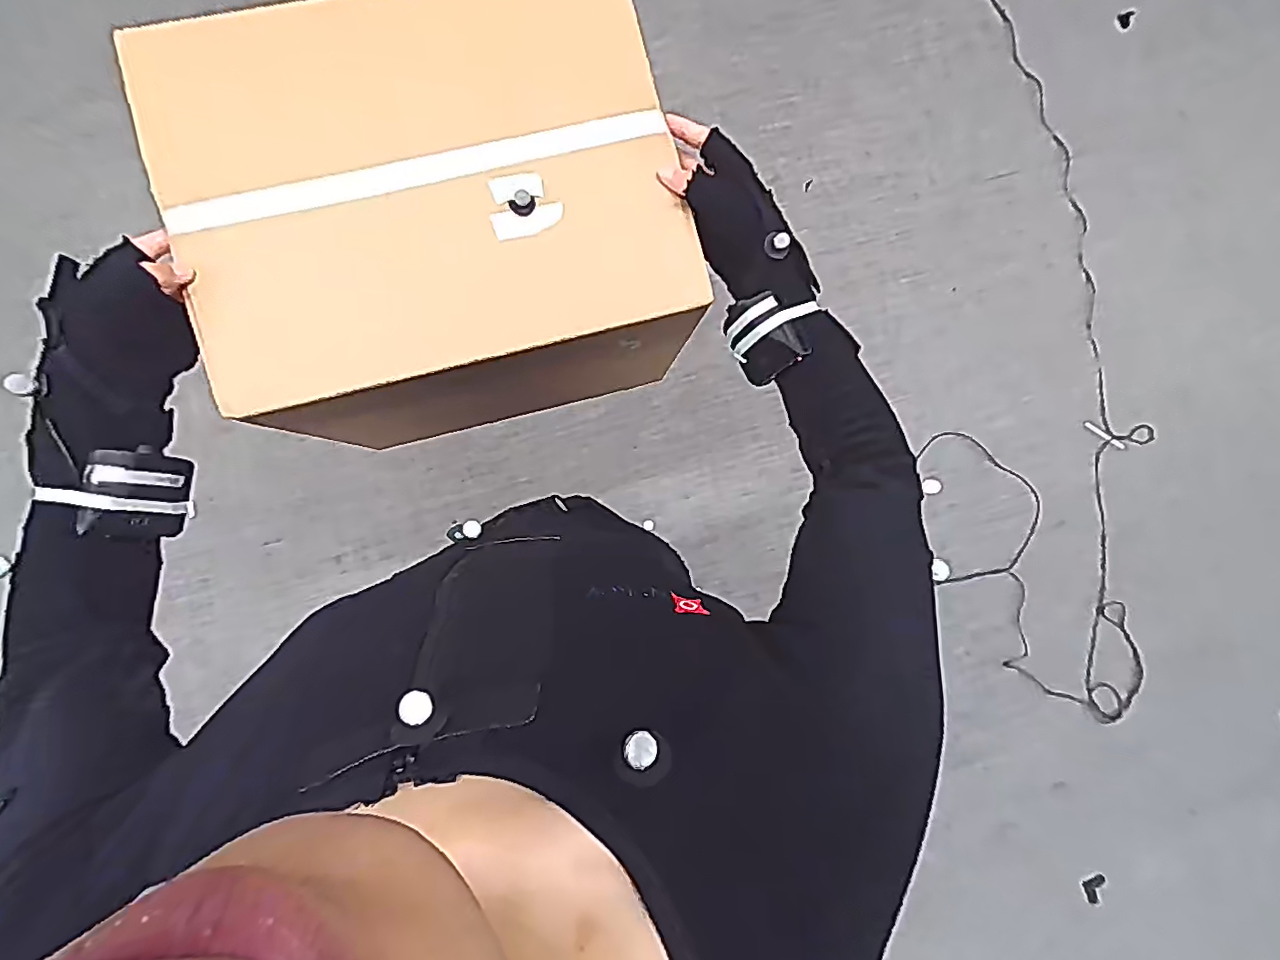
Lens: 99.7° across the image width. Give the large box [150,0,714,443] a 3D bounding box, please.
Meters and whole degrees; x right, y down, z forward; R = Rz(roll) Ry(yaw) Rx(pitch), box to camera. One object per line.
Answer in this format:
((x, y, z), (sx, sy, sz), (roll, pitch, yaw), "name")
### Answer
((-0.181, -0.253, 0.599), (0.408, 0.320, 0.320), (-16, 91, -6), "large box")
